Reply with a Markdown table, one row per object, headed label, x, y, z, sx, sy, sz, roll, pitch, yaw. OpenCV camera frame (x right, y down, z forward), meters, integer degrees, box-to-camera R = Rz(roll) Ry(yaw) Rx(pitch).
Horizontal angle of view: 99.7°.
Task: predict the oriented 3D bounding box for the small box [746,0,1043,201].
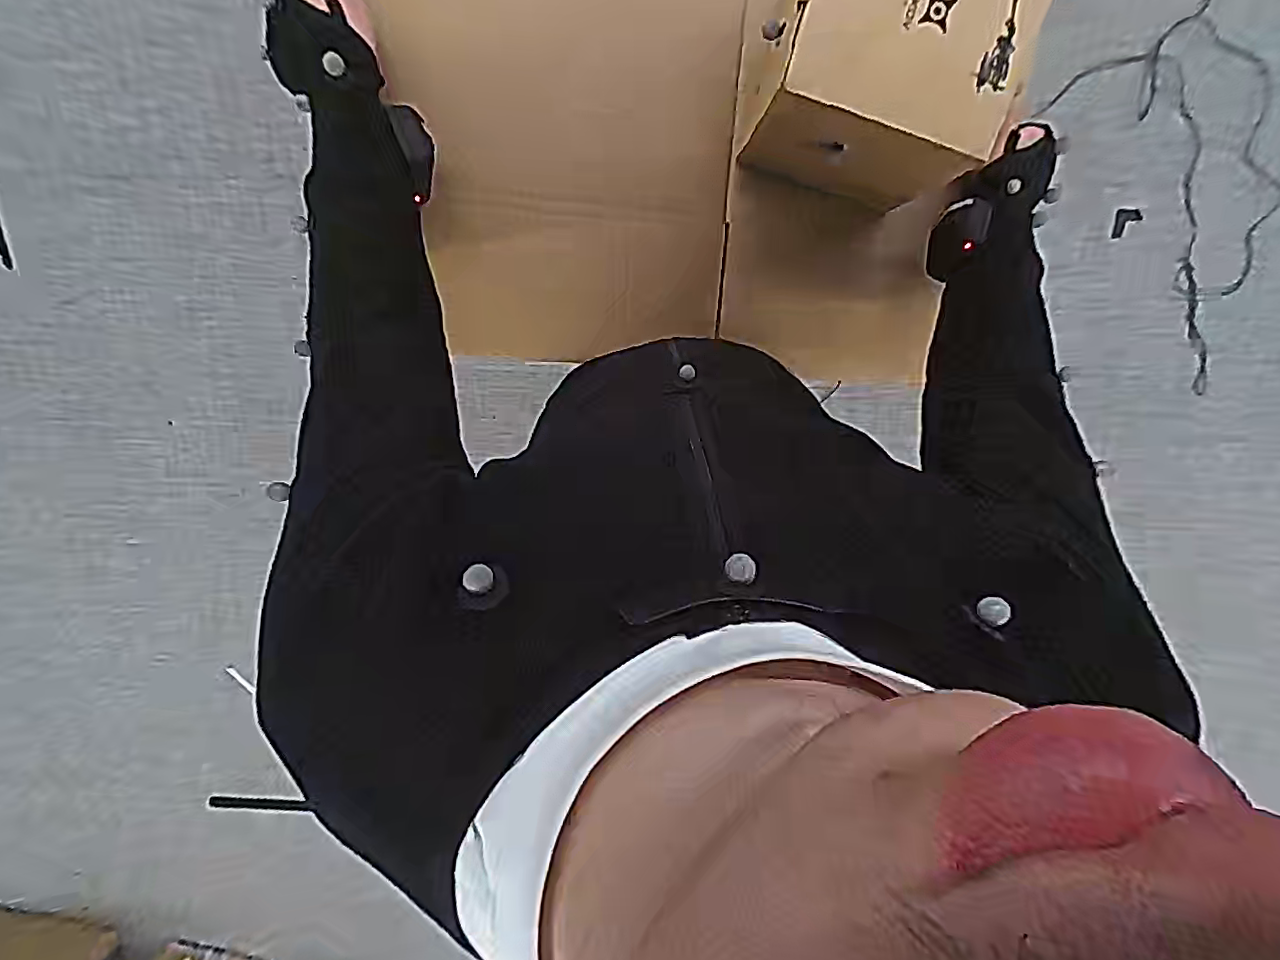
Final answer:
| label | x | y | z | sx | sy | sz | roll | pitch | yaw |
| --- | --- | --- | --- | --- | --- | --- | --- | --- | --- |
| small box | 0.209 | -0.373 | 0.480 | 0.179 | 0.176 | 0.168 | 16 | 103 | -4 |
